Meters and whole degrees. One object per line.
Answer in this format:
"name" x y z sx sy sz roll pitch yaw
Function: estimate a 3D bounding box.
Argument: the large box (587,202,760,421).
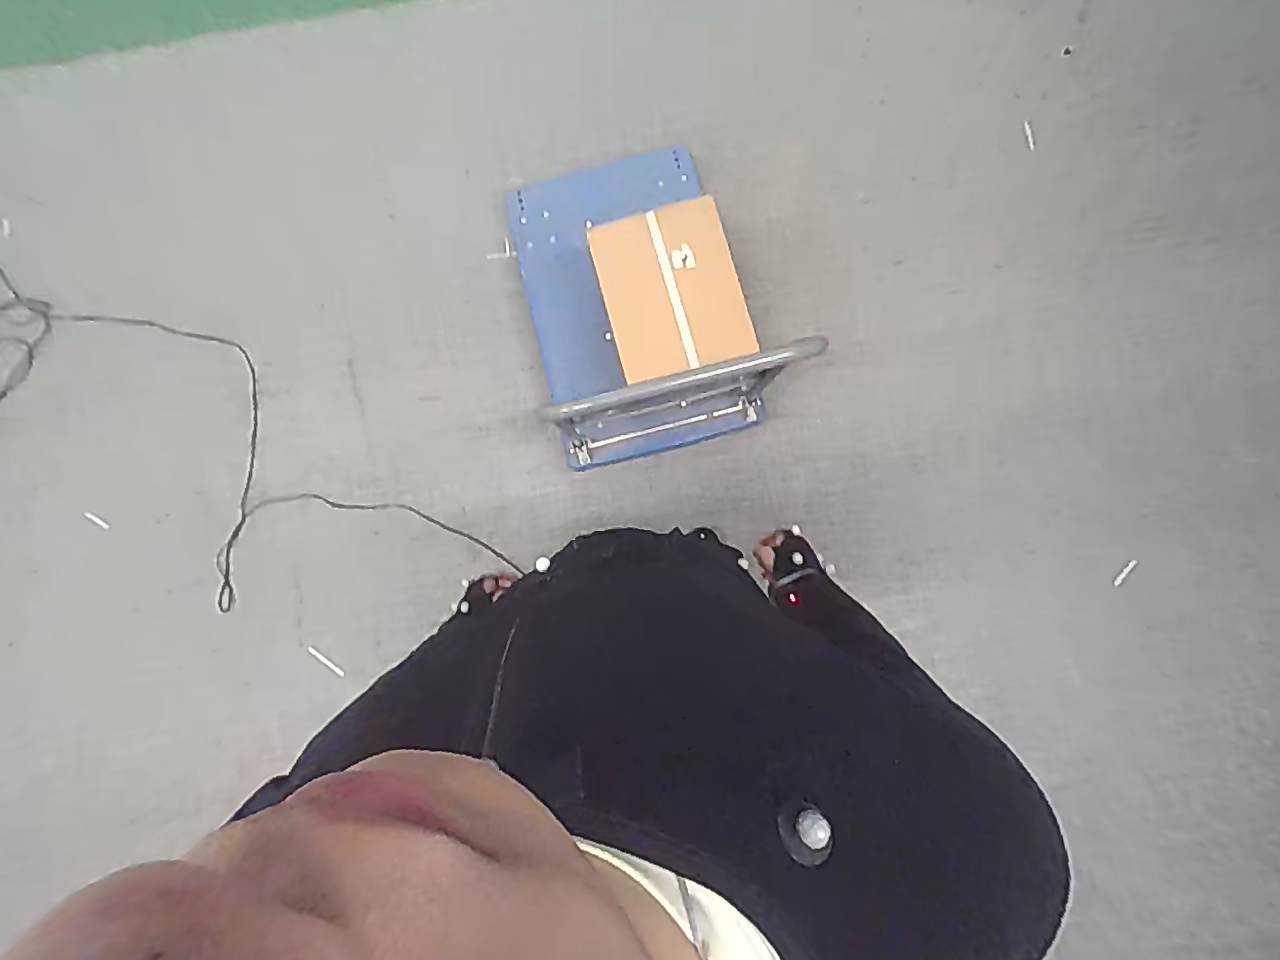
"large box" 0.081 -0.408 1.394 0.320 0.320 0.408 -15 83 -1
